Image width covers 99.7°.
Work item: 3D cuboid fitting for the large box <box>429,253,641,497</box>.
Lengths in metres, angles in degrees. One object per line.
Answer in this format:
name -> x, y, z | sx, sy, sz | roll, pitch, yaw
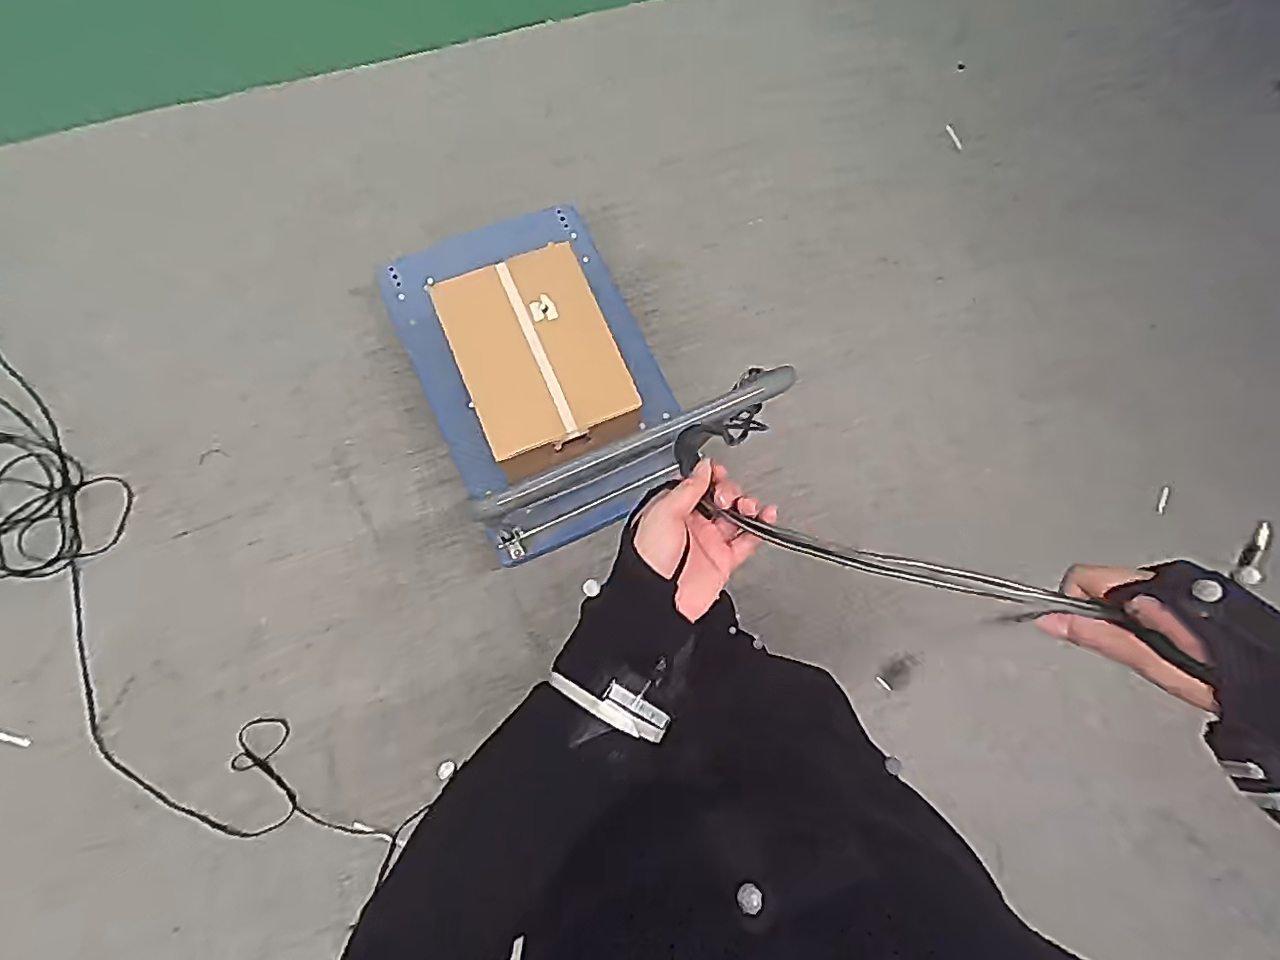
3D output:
large box -> -0.226, -0.222, 1.246 | 0.320, 0.320, 0.408 | -23, 79, -10
